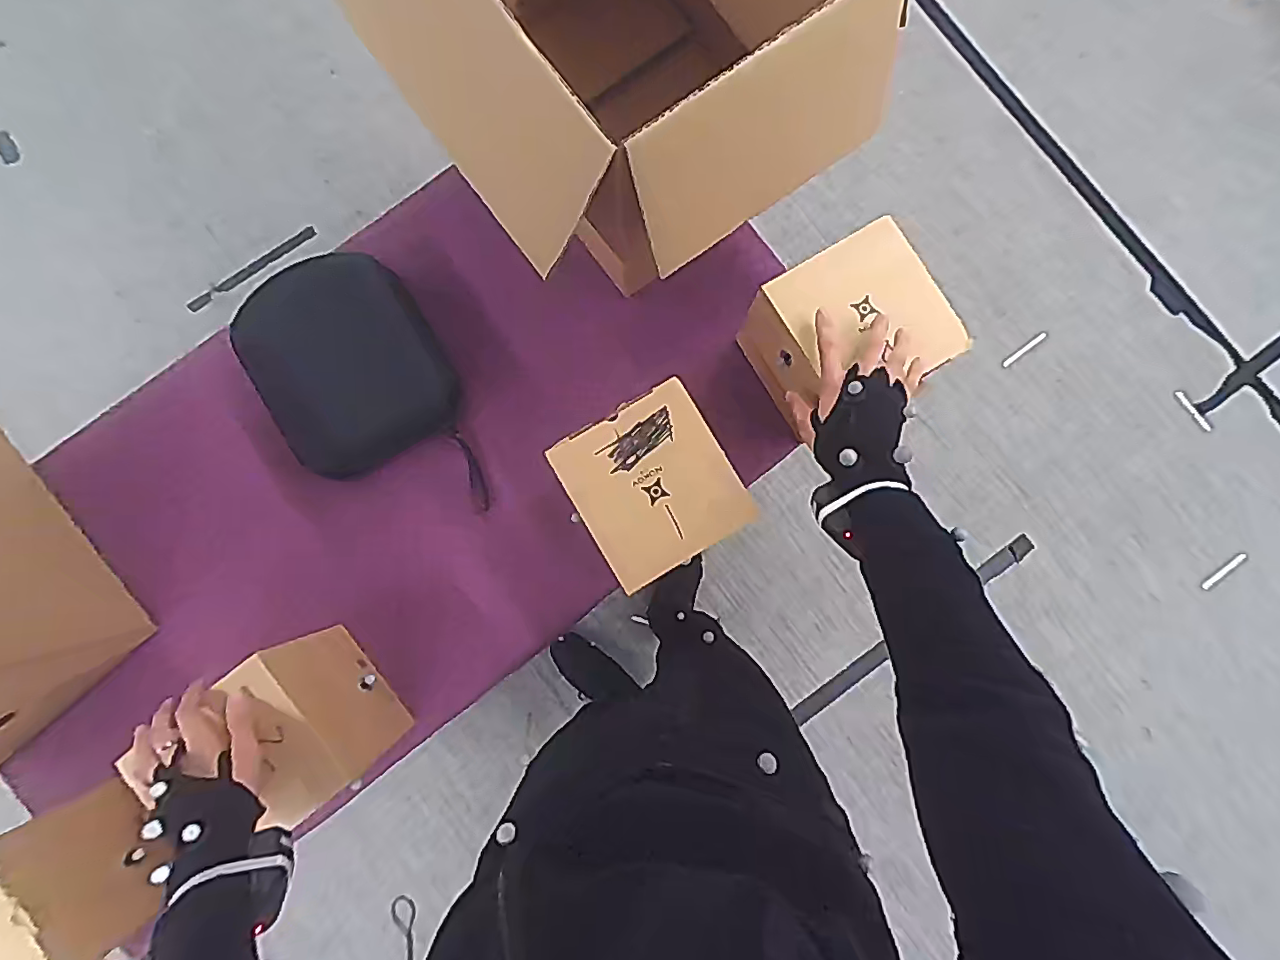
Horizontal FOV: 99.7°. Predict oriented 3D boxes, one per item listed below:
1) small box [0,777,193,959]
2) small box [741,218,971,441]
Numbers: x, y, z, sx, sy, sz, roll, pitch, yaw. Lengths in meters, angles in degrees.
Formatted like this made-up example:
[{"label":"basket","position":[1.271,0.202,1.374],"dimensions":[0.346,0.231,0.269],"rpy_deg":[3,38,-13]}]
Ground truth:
[{"label":"small box","position":[-0.675,0.485,0.608],"dimensions":[0.179,0.176,0.168],"rpy_deg":[-36,87,-4]},{"label":"small box","position":[0.242,-0.168,0.659],"dimensions":[0.168,0.176,0.179],"rpy_deg":[-30,86,-1]}]
